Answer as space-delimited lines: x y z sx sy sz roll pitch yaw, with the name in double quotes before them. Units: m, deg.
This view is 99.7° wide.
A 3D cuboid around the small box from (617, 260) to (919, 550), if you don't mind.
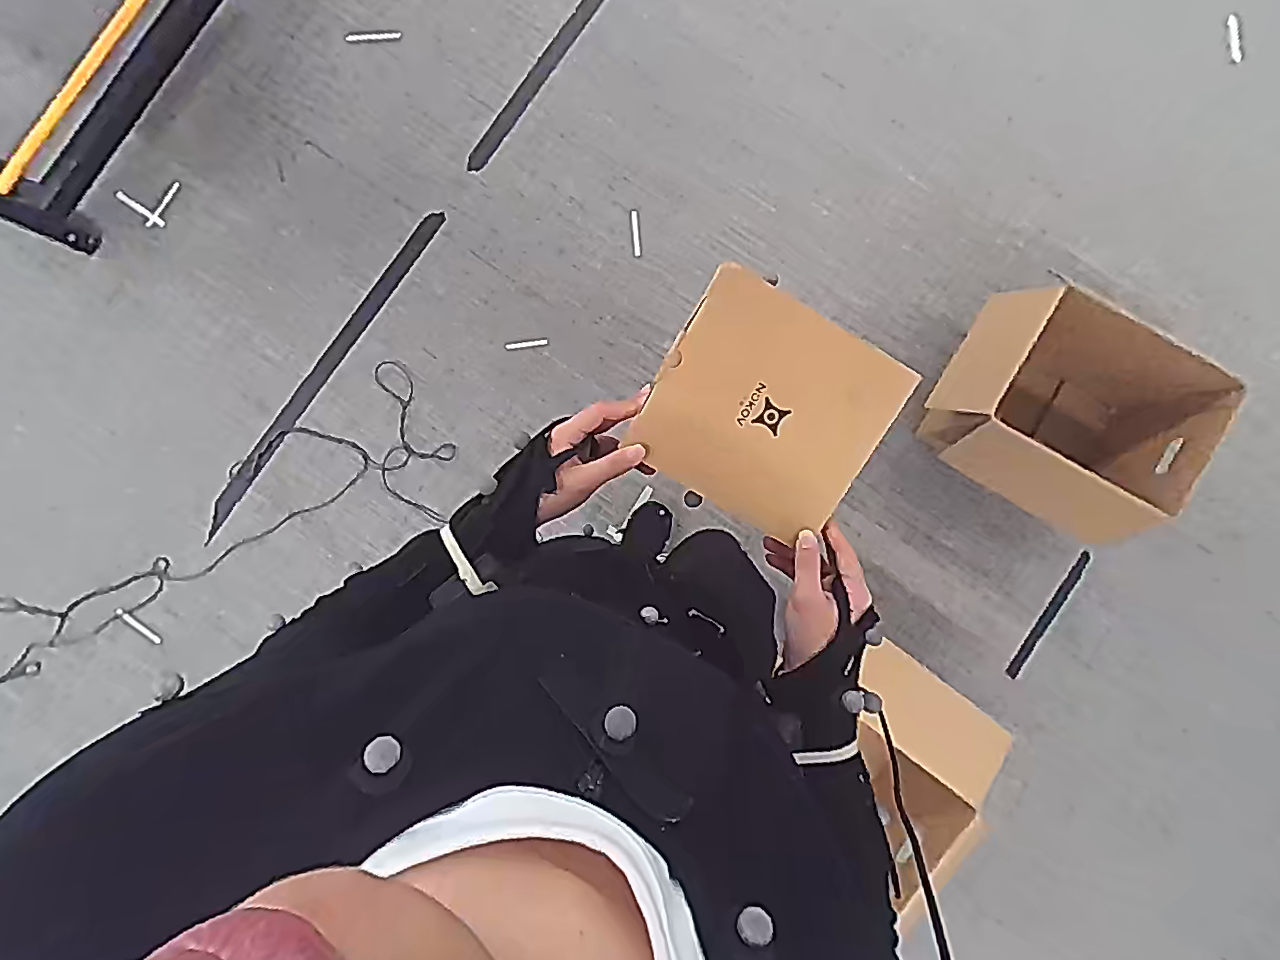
"small box" 0.099 -0.067 0.490 0.179 0.176 0.168 29 99 -2
